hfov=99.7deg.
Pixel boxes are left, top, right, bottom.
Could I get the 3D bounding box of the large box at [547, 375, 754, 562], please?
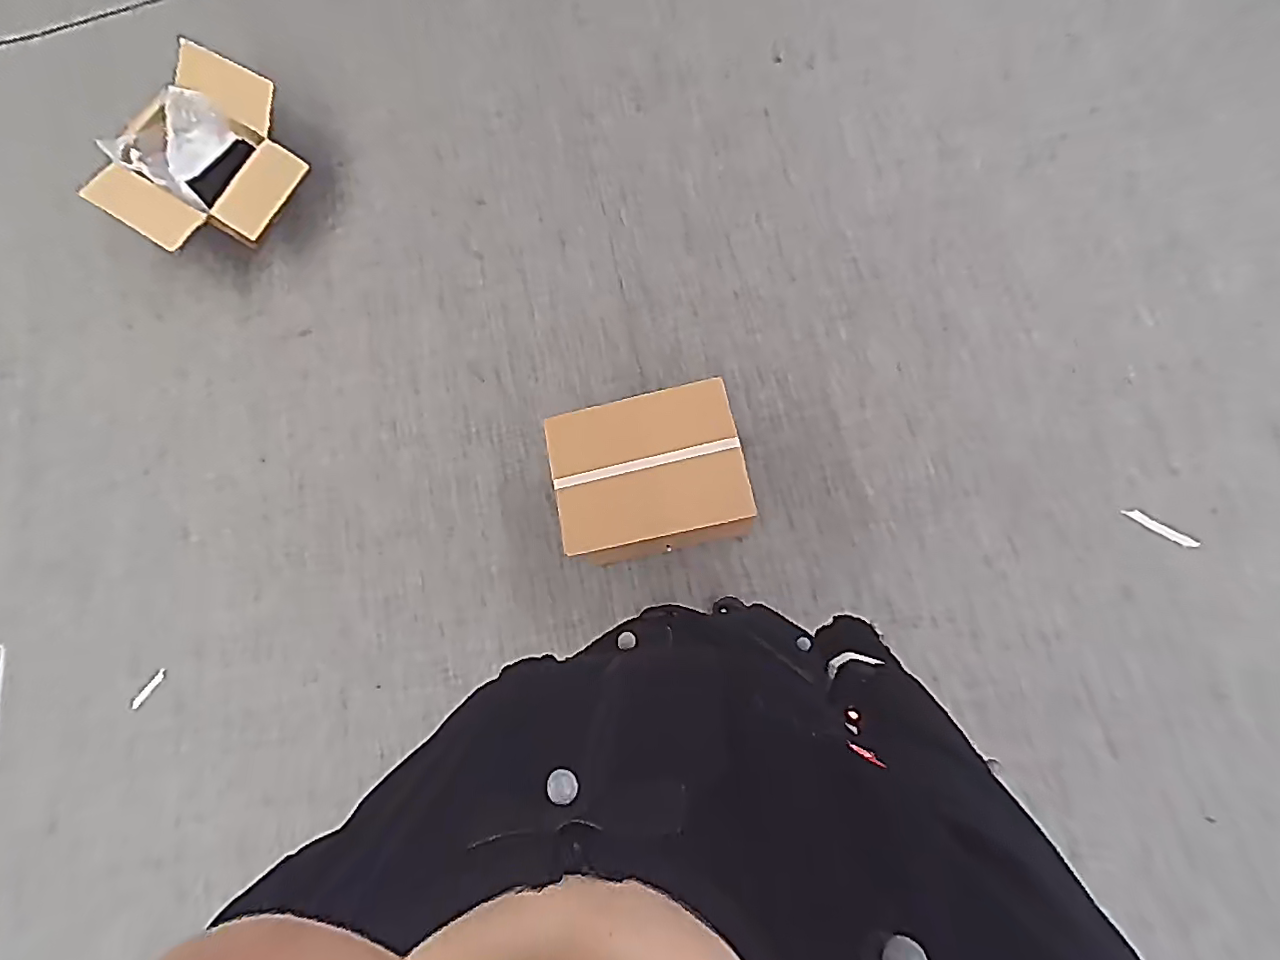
[{"bbox_3d":[0.032,-0.006,1.294,0.408,0.320,0.320,-13,77,5],"label":"large box"}]
